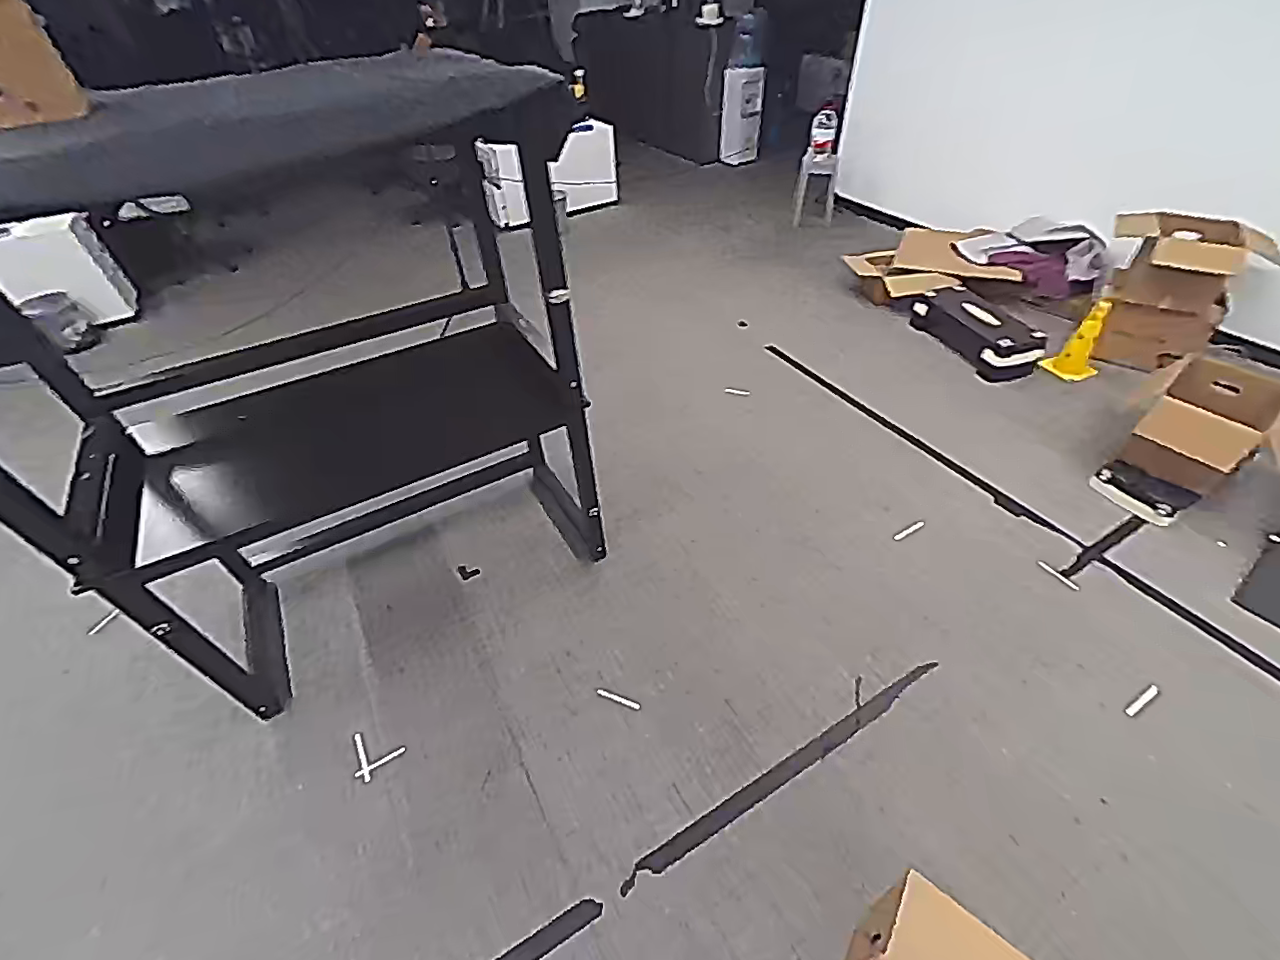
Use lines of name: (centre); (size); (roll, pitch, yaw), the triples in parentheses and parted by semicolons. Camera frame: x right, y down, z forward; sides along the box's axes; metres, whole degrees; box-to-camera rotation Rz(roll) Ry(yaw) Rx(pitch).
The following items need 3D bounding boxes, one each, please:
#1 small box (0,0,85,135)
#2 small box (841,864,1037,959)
small box: (-1.087, -0.690, 0.902); (0.168, 0.176, 0.179); (-29, 51, -24)
small box: (0.313, 0.582, 0.585); (0.168, 0.176, 0.179); (30, 37, 26)
